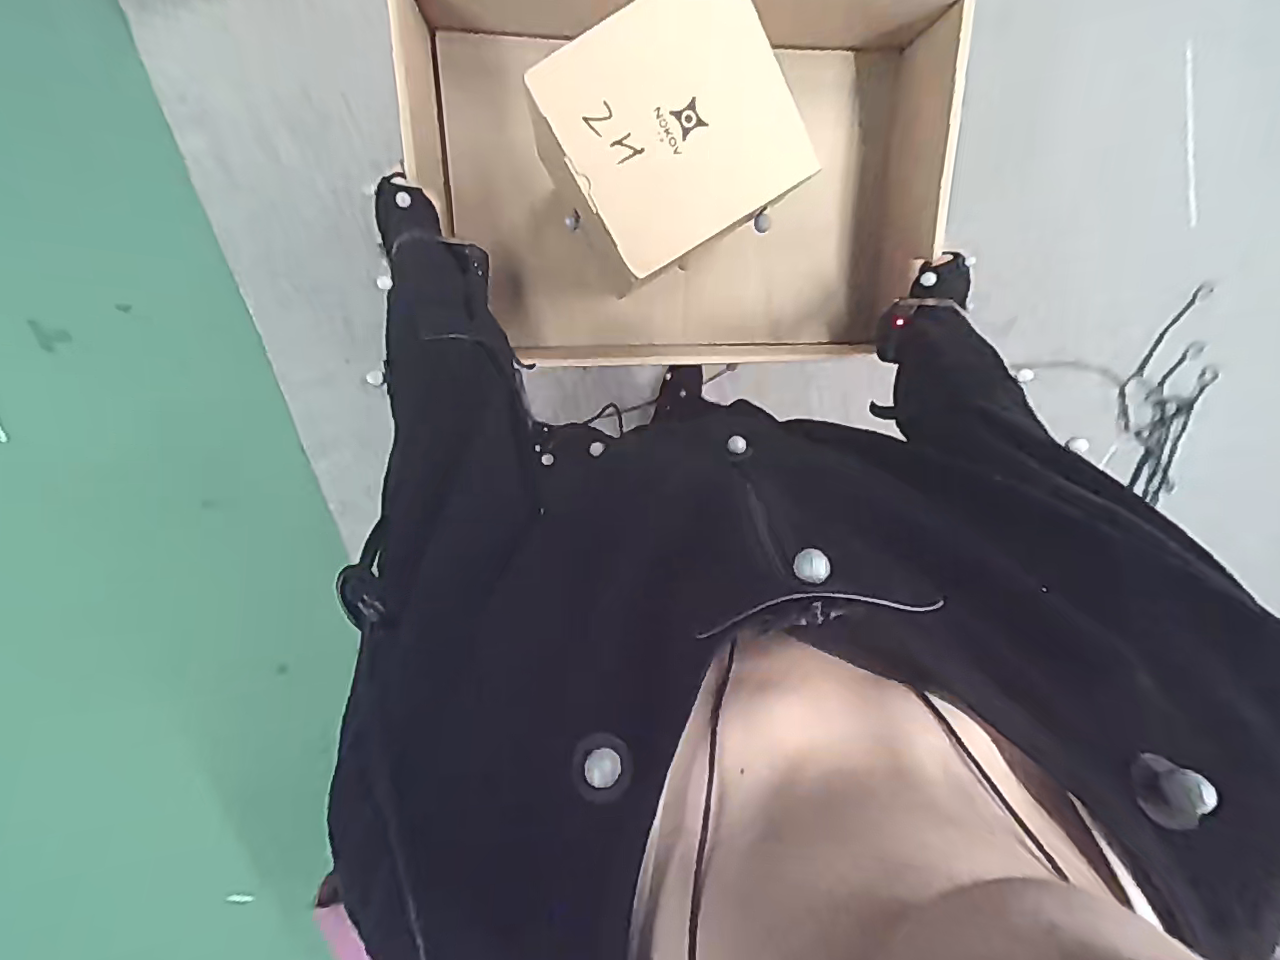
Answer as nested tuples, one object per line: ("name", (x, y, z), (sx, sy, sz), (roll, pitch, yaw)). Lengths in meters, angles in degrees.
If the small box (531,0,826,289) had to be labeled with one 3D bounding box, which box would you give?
("small box", (0.024, -0.291, 0.479), (0.179, 0.176, 0.168), (-31, 104, 2))
